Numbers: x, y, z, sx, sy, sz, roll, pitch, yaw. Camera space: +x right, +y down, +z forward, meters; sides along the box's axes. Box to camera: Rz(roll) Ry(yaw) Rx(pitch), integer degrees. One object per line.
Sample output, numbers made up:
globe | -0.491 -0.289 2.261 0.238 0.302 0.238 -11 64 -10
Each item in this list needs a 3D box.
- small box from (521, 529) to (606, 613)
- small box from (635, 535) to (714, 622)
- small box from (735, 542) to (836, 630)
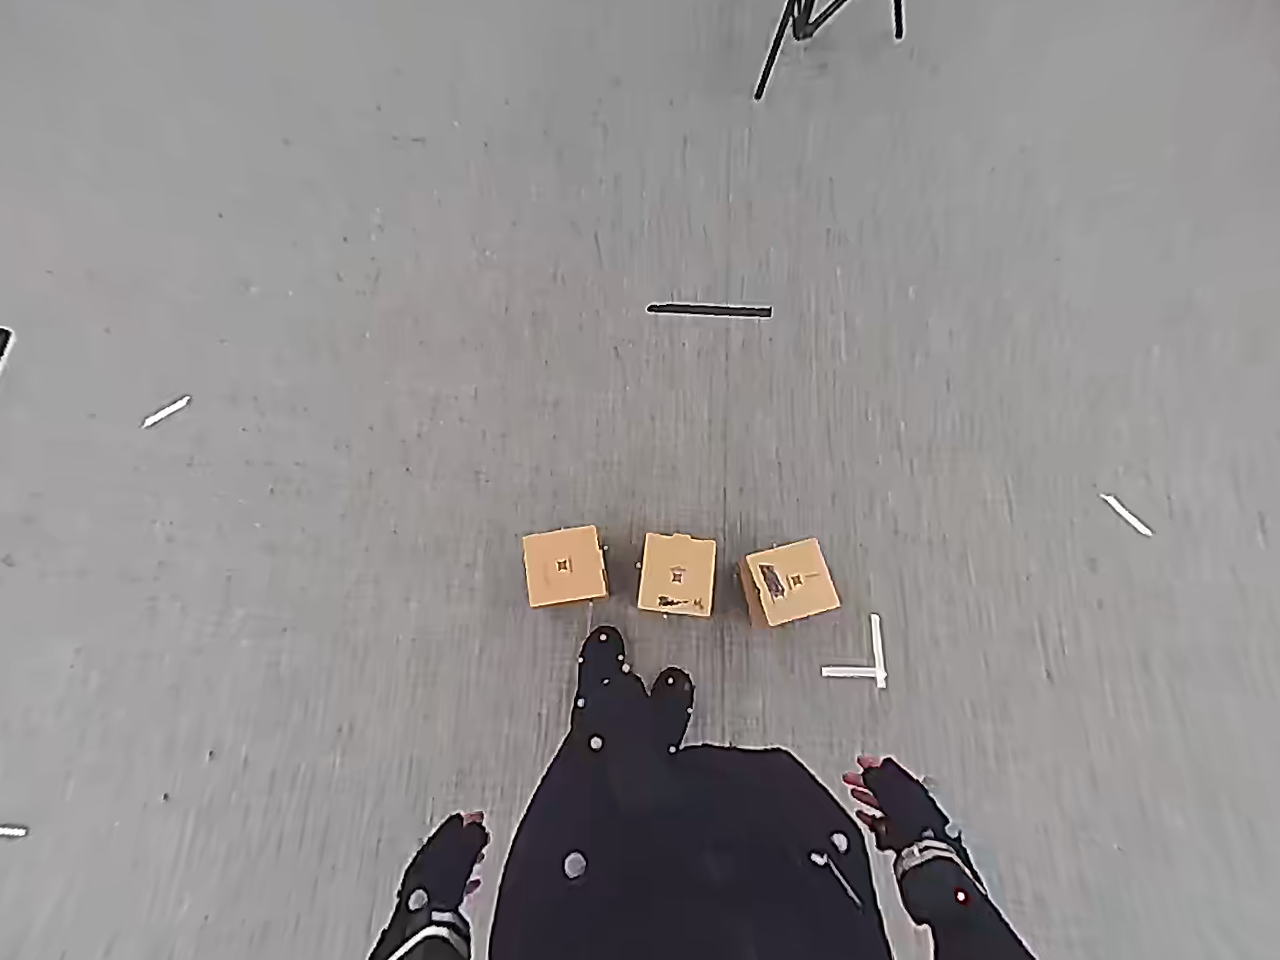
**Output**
small box | -0.178 0.224 1.307 0.179 0.176 0.168 -9 74 -3
small box | 0.078 0.243 1.306 0.168 0.176 0.179 7 74 0
small box | 0.339 0.261 1.305 0.179 0.176 0.168 -14 75 -6
